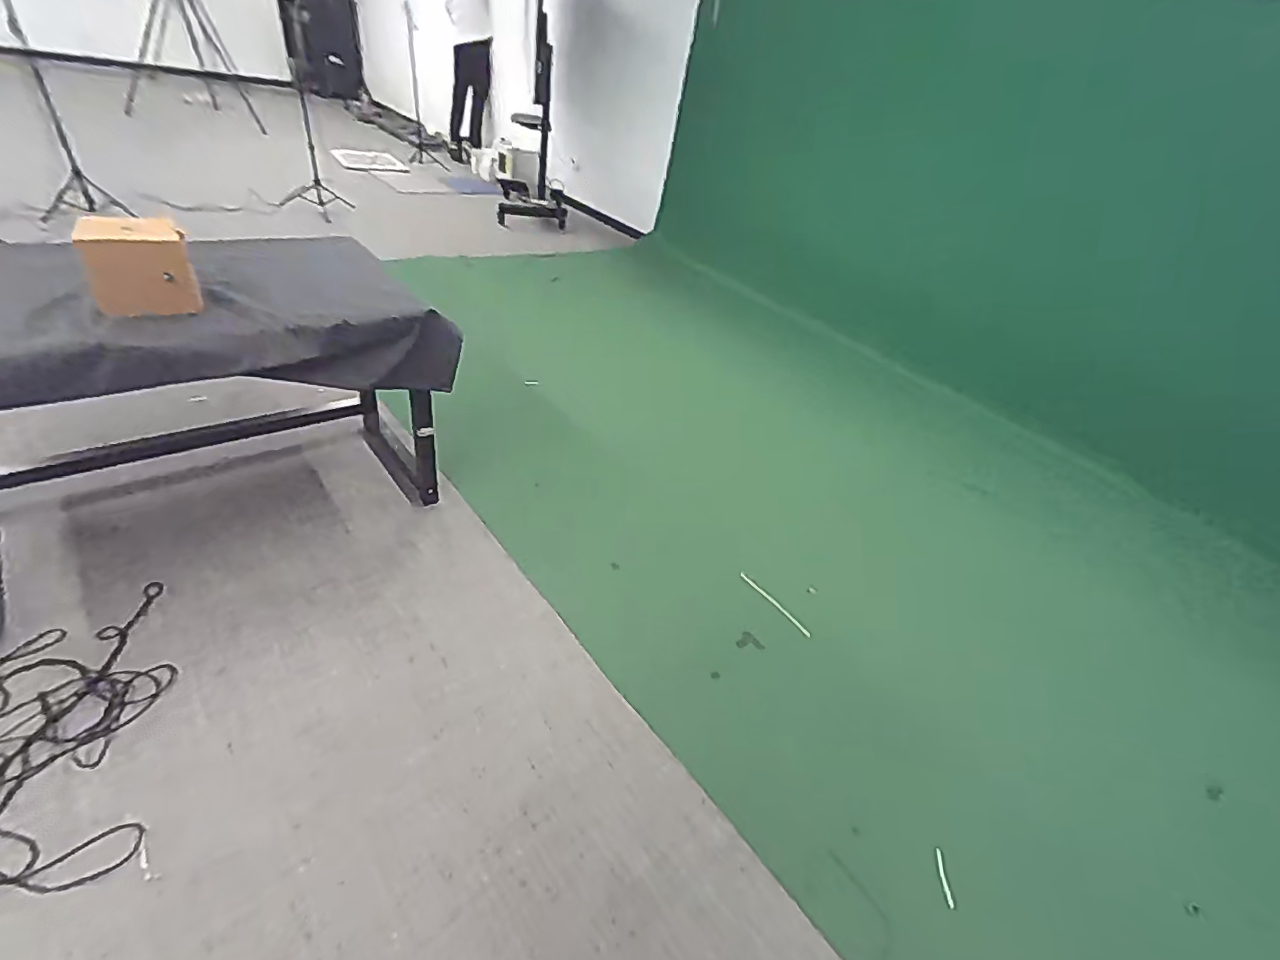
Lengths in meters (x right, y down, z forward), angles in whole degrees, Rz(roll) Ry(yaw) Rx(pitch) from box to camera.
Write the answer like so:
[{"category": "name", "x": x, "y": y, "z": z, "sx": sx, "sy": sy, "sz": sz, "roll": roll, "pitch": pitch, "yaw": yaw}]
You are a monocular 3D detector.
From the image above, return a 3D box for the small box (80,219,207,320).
[{"category": "small box", "x": -1.117, "y": -0.479, "z": 1.233, "sx": 0.179, "sy": 0.176, "sz": 0.168, "roll": -15, "pitch": 44, "yaw": -31}]
